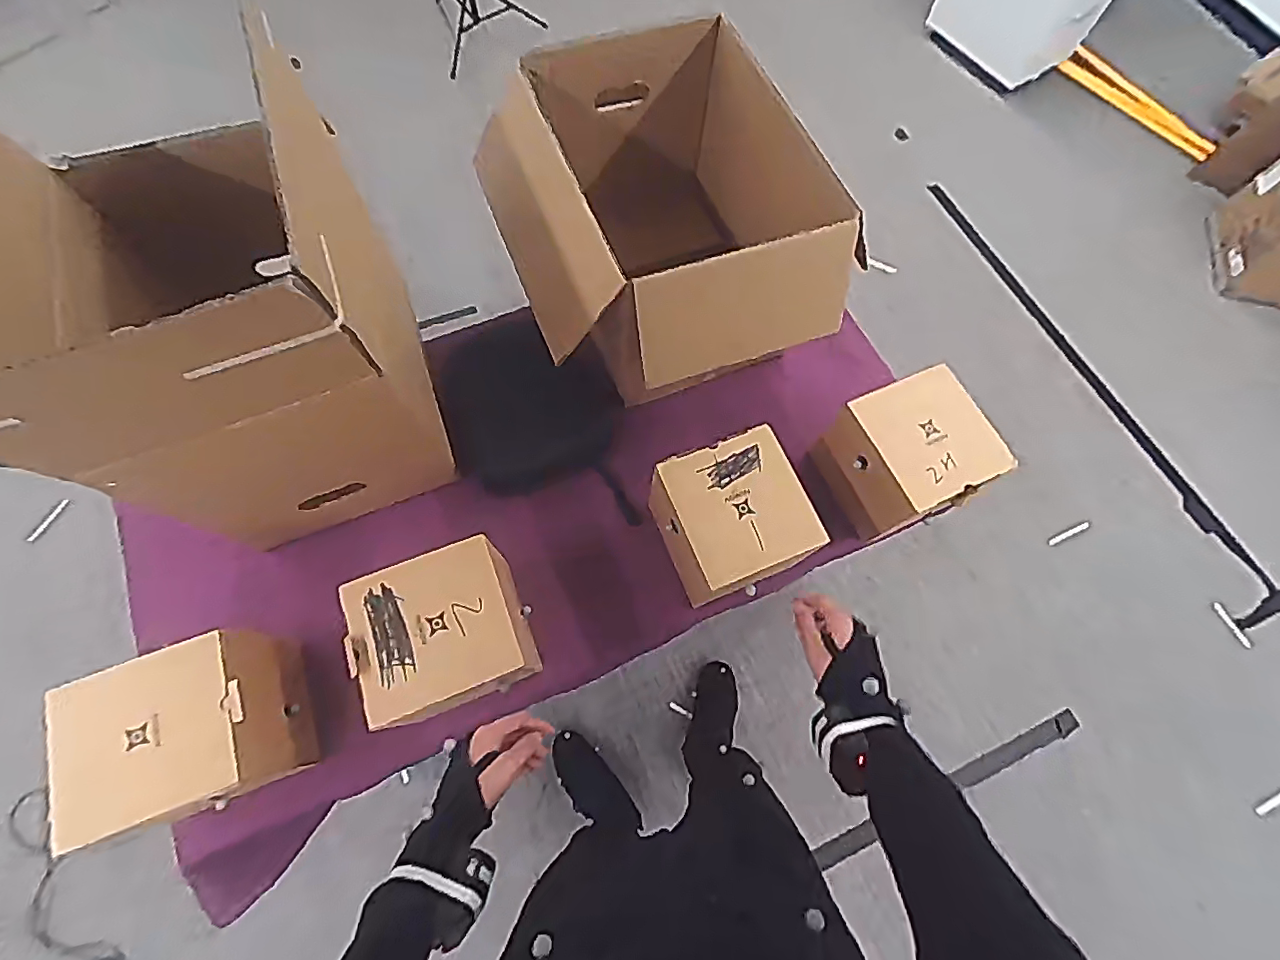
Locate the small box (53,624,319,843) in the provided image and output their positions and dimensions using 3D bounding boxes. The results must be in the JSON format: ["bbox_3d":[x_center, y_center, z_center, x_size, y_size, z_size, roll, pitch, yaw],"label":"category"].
[{"bbox_3d":[-0.521,0.288,0.640,0.179,0.176,0.168,-19,72,-11],"label":"small box"}]

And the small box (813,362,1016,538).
[{"bbox_3d":[0.384,-0.036,0.795,0.168,0.176,0.179,-22,72,-9],"label":"small box"}]
